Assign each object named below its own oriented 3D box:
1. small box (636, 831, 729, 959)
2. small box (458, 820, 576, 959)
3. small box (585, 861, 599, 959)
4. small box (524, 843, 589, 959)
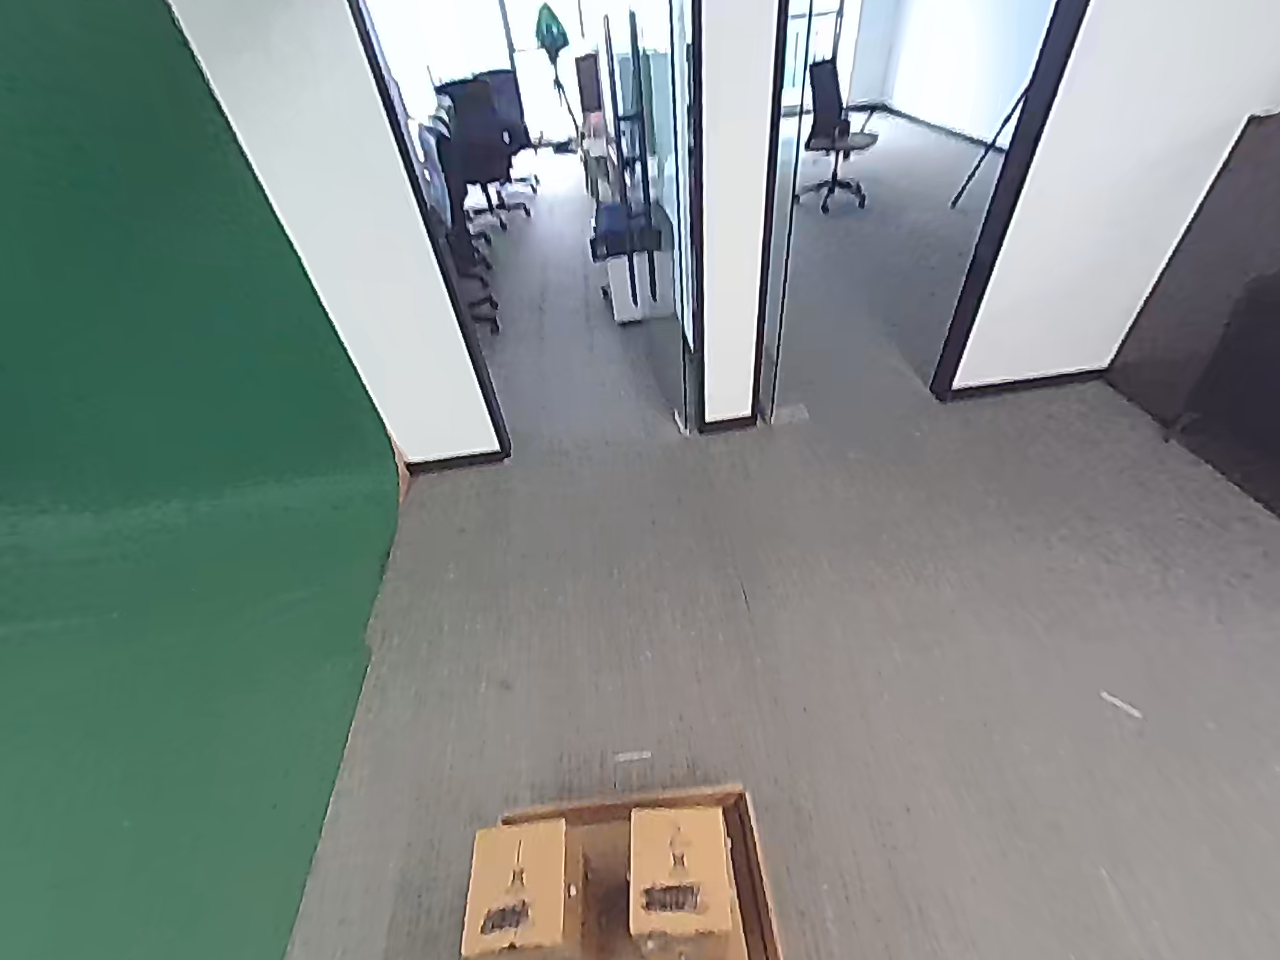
[{"bbox_3d":[0.080,0.830,1.080,0.168,0.176,0.179,-5,44,1],"label":"small box"},{"bbox_3d":[-0.207,0.737,0.967,0.168,0.176,0.179,-6,42,-1],"label":"small box"},{"bbox_3d":[-0.184,0.971,1.194,0.168,0.176,0.179,-5,42,1],"label":"small box"},{"bbox_3d":[-0.195,0.855,1.082,0.168,0.176,0.179,-4,43,1],"label":"small box"}]
